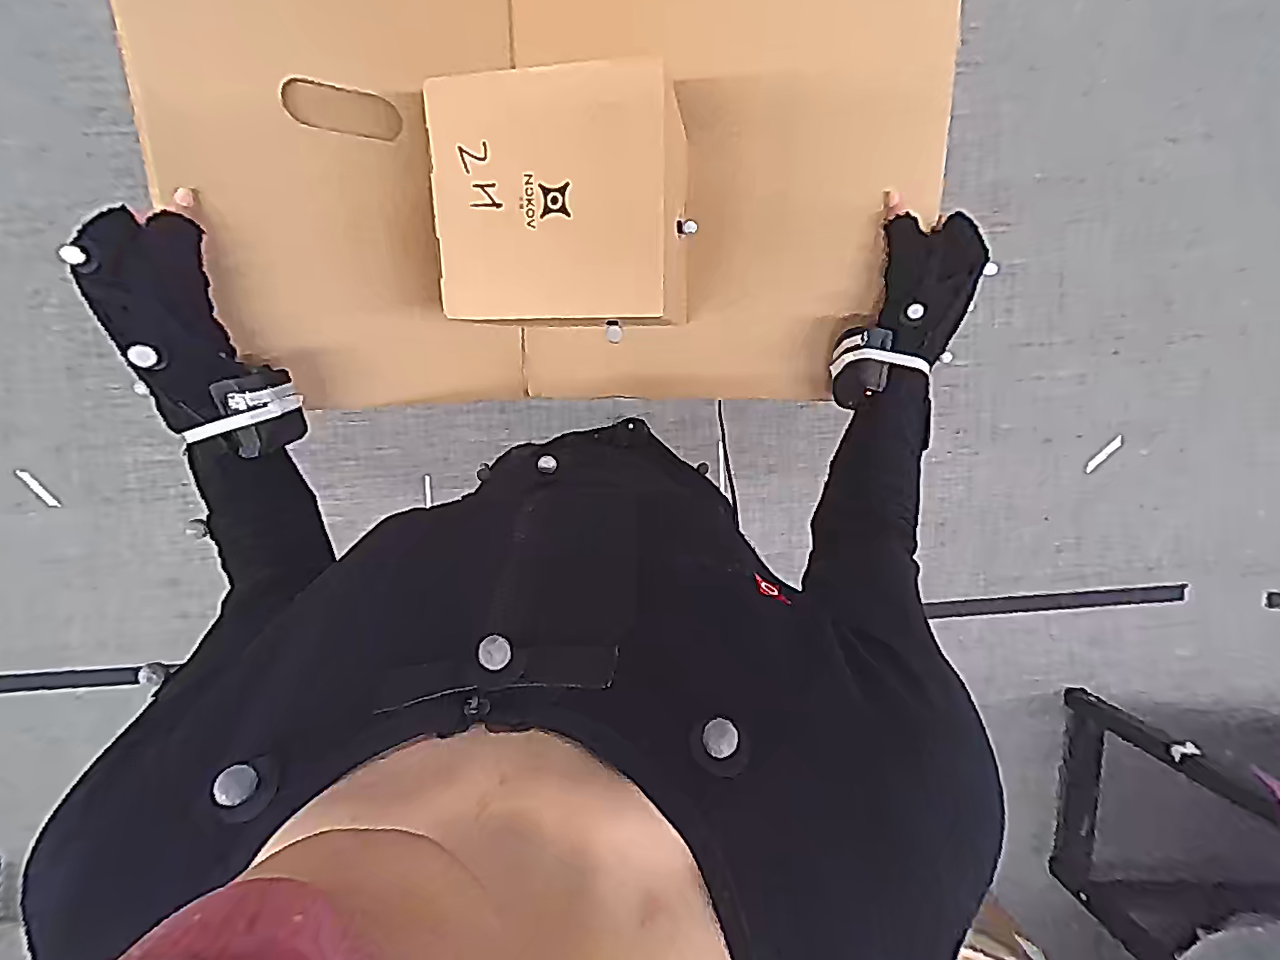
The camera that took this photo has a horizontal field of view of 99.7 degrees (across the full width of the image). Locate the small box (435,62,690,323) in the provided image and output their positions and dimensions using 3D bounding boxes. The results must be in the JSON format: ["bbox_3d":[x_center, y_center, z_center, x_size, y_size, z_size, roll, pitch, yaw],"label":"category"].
[{"bbox_3d":[-0.051,-0.227,0.473,0.179,0.176,0.168,3,104,10],"label":"small box"}]
